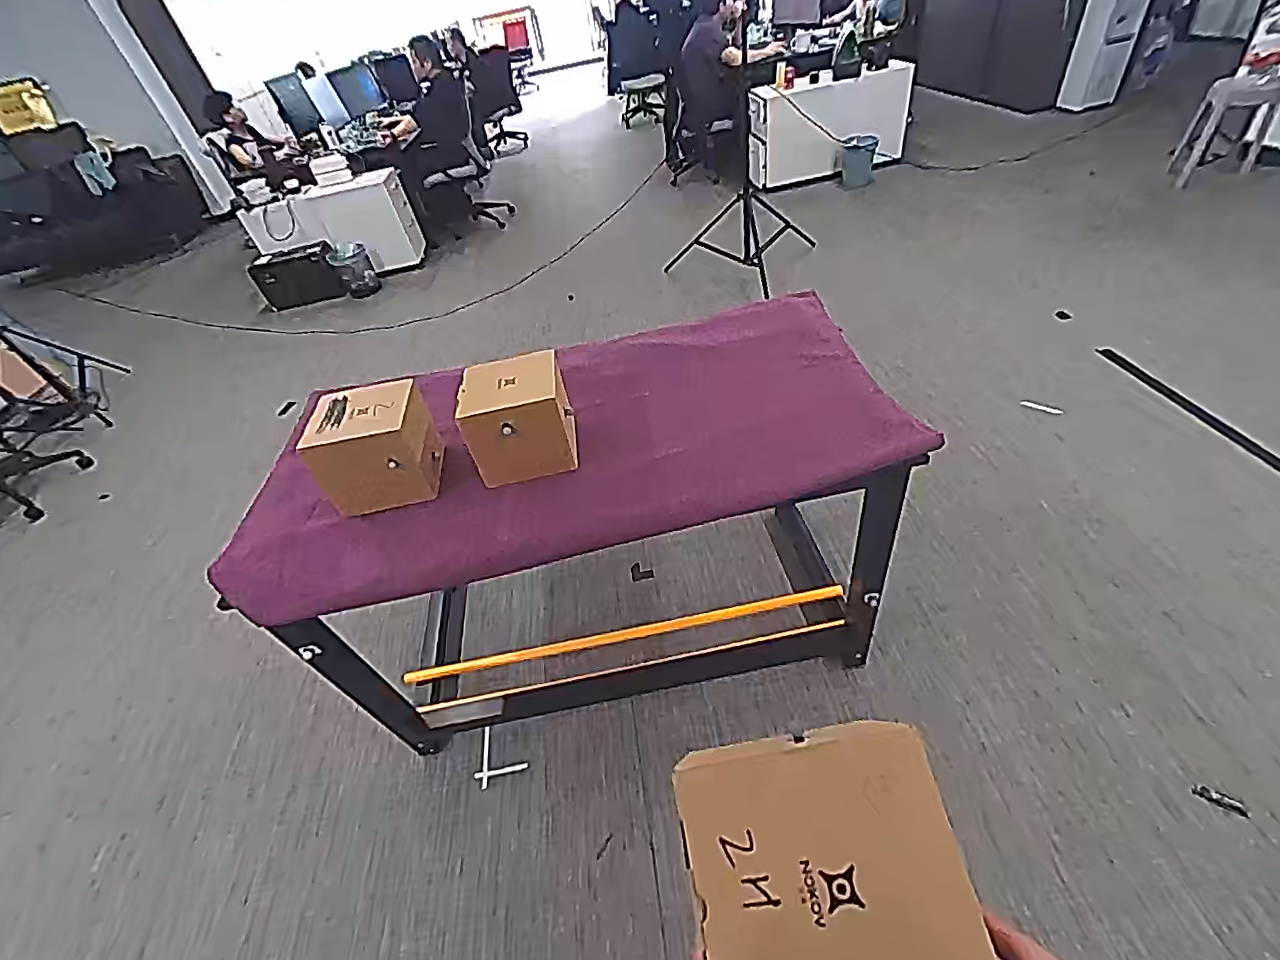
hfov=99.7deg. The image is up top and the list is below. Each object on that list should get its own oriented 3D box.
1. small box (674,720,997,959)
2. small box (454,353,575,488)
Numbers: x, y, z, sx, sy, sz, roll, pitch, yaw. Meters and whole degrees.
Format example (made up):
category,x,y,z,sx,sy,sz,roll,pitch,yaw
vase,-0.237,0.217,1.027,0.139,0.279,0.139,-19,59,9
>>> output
category,x,y,z,sx,sy,sz,roll,pitch,yaw
small box,0.132,0.289,0.419,0.179,0.176,0.168,-13,65,5
small box,-0.223,-0.109,1.010,0.179,0.176,0.168,-13,43,1
